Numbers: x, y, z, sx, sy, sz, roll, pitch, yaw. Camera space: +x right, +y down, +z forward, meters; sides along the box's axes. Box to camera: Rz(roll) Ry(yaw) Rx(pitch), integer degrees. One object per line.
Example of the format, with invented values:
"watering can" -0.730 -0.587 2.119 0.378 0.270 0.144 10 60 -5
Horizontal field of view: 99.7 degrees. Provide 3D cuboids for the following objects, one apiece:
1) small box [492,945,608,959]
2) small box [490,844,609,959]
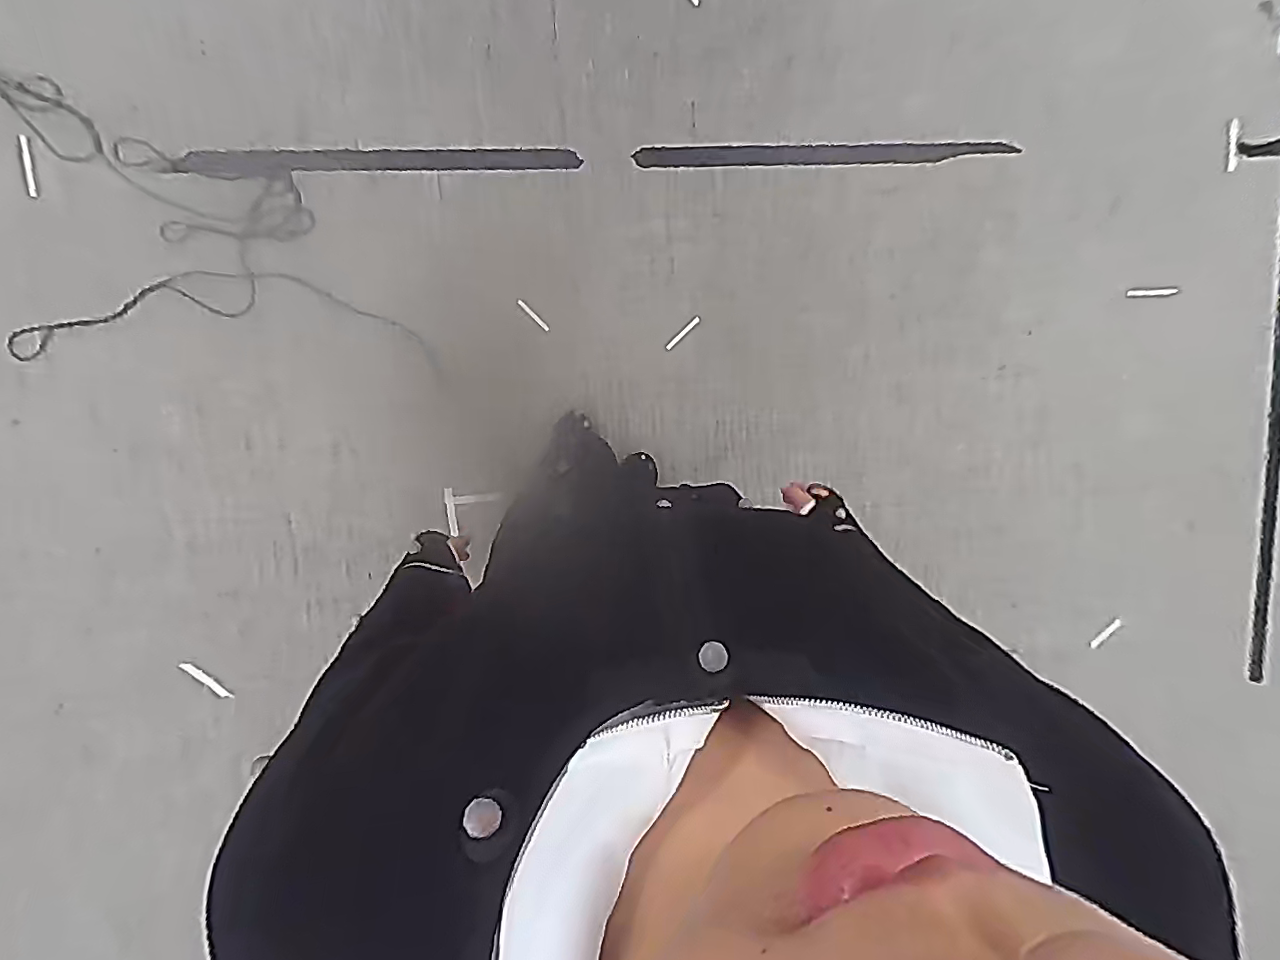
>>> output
"small box" -0.117 0.738 0.684 0.168 0.176 0.179 -4 95 -3
"small box" -0.134 0.721 0.849 0.168 0.176 0.179 -4 95 -6
